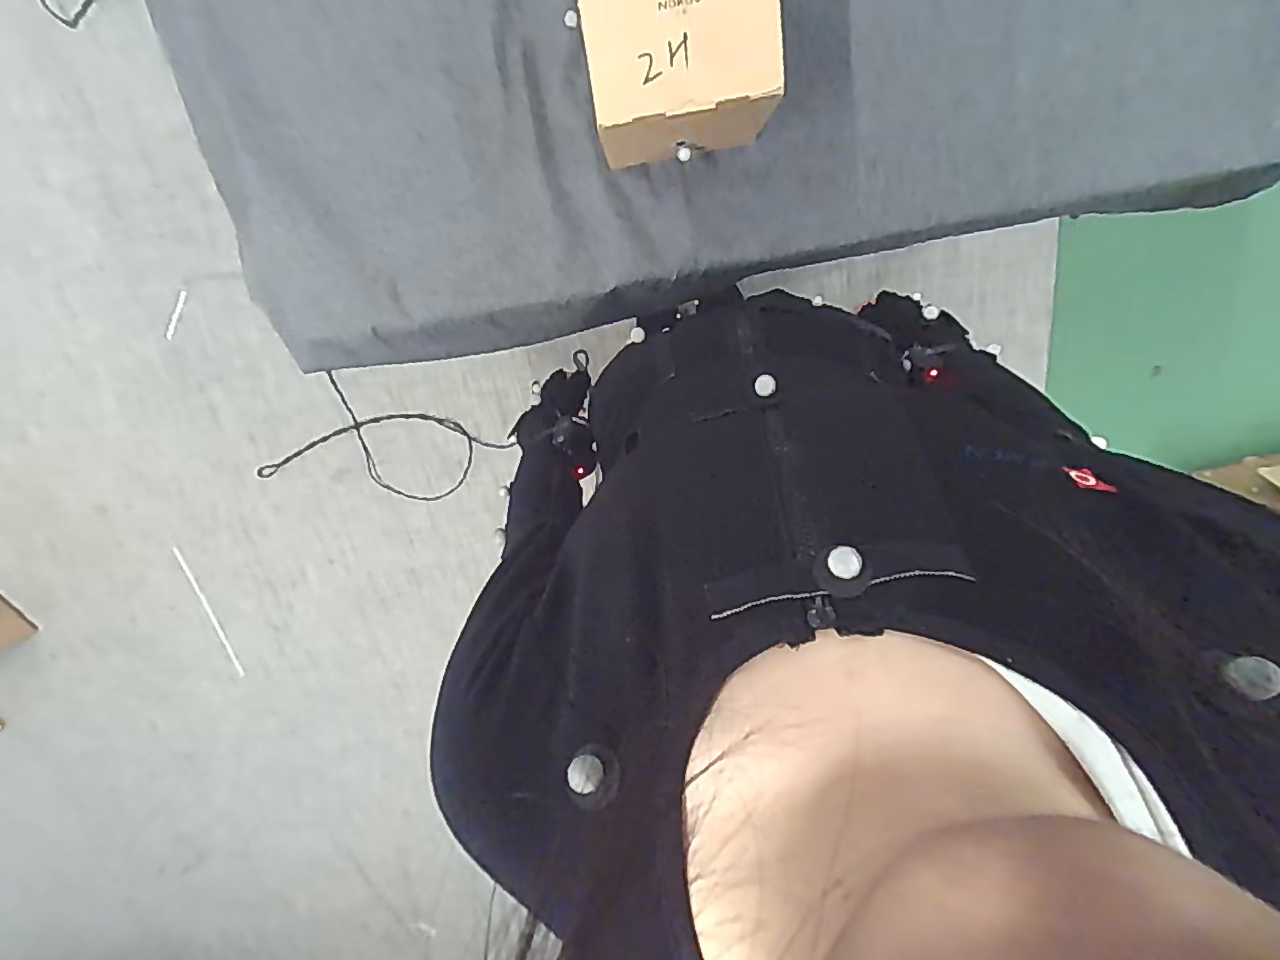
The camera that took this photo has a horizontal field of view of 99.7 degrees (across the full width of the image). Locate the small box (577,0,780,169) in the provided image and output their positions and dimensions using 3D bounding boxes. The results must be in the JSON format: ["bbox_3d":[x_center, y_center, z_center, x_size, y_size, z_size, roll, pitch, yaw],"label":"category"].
[{"bbox_3d":[0.030,-0.425,0.519,0.168,0.176,0.179,-8,109,5],"label":"small box"}]
